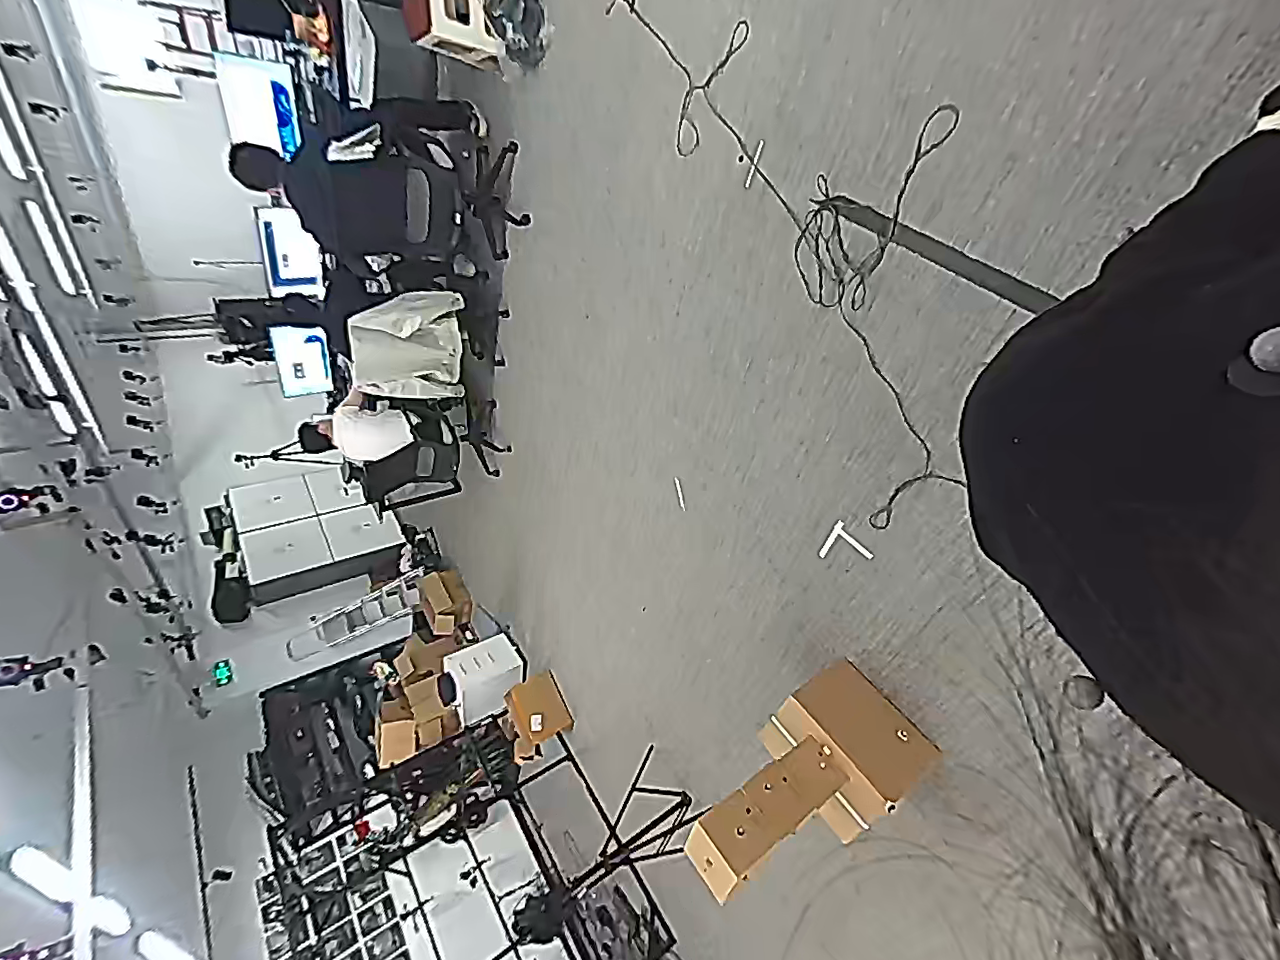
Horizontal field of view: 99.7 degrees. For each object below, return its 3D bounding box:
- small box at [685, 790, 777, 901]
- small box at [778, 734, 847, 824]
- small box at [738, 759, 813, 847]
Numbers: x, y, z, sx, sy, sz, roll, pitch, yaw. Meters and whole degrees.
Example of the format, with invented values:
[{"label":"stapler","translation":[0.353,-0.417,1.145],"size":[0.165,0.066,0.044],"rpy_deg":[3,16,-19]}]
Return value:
[{"label":"small box","translation":[0.257,1.016,1.517],"size":[0.168,0.176,0.179],"rpy_deg":[43,134,39]},{"label":"small box","translation":[0.516,0.944,1.704],"size":[0.168,0.176,0.179],"rpy_deg":[46,136,34]},{"label":"small box","translation":[0.386,0.974,1.611],"size":[0.168,0.176,0.179],"rpy_deg":[46,137,36]}]
